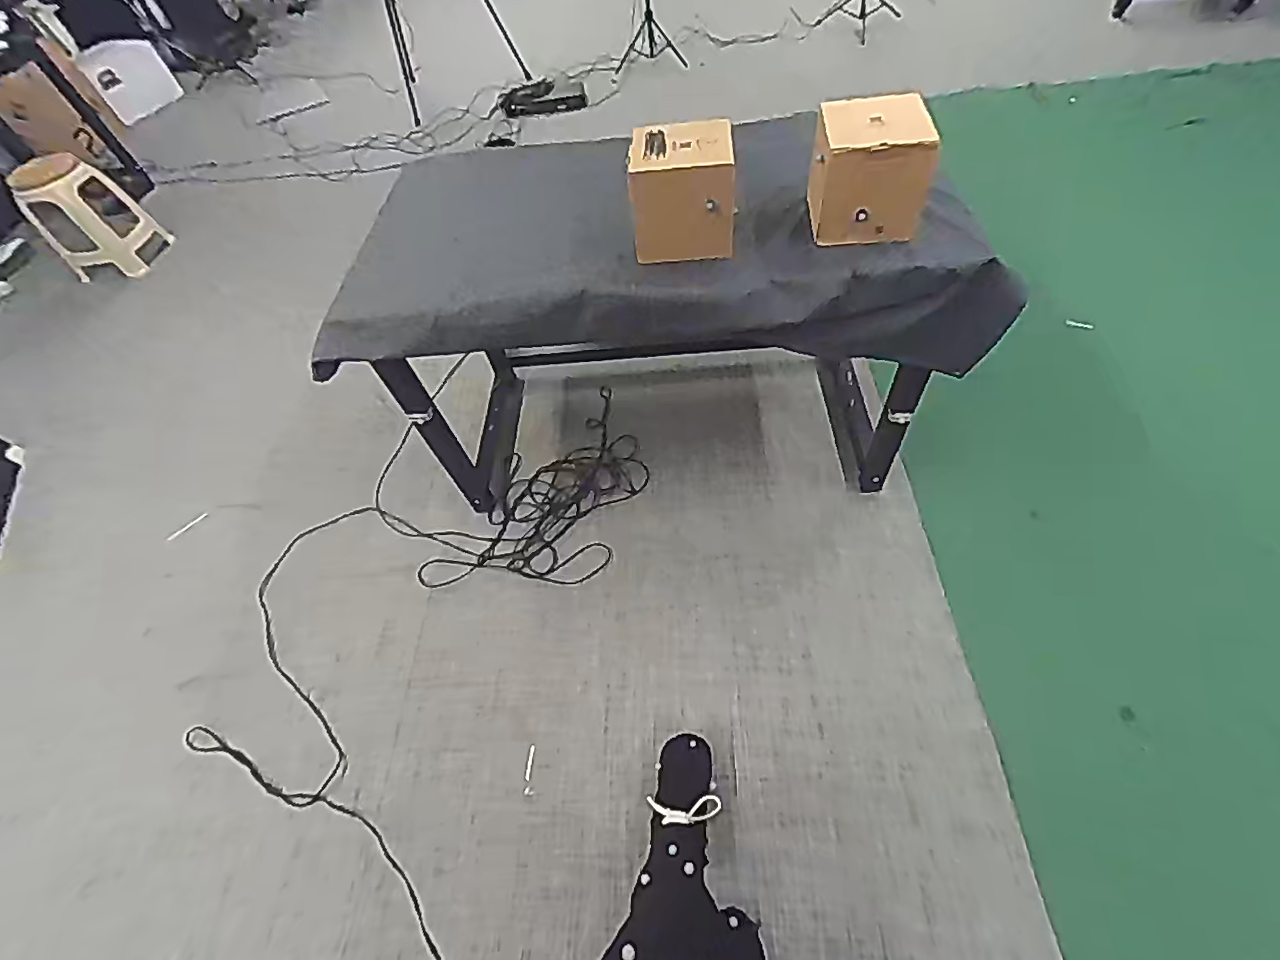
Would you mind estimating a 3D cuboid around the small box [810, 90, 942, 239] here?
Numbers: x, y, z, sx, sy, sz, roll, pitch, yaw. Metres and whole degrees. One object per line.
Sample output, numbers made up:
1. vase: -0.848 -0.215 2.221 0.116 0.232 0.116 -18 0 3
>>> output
1. small box: 0.399 -0.550 0.950 0.168 0.176 0.179 0 56 8
